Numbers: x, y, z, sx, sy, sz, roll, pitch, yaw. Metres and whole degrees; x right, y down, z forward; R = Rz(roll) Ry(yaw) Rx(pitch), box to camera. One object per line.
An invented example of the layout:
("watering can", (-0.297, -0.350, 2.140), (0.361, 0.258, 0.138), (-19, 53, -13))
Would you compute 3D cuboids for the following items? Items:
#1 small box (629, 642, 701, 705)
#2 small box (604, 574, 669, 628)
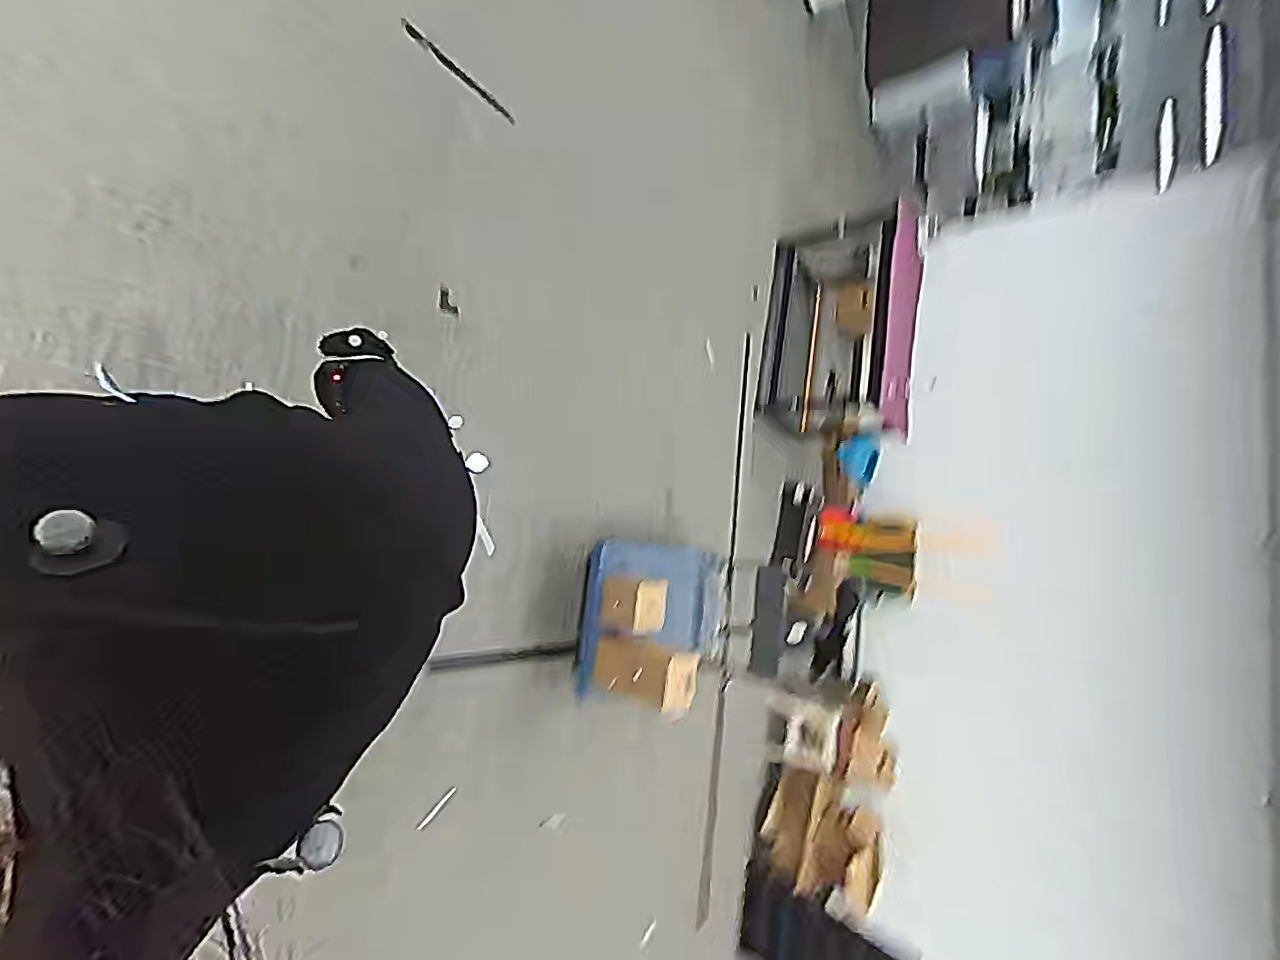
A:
("small box", (0.088, 0.664, 1.874), (0.179, 0.176, 0.168), (15, 79, -50))
("small box", (-0.015, 0.444, 2.003), (0.179, 0.176, 0.168), (10, 84, -52))
